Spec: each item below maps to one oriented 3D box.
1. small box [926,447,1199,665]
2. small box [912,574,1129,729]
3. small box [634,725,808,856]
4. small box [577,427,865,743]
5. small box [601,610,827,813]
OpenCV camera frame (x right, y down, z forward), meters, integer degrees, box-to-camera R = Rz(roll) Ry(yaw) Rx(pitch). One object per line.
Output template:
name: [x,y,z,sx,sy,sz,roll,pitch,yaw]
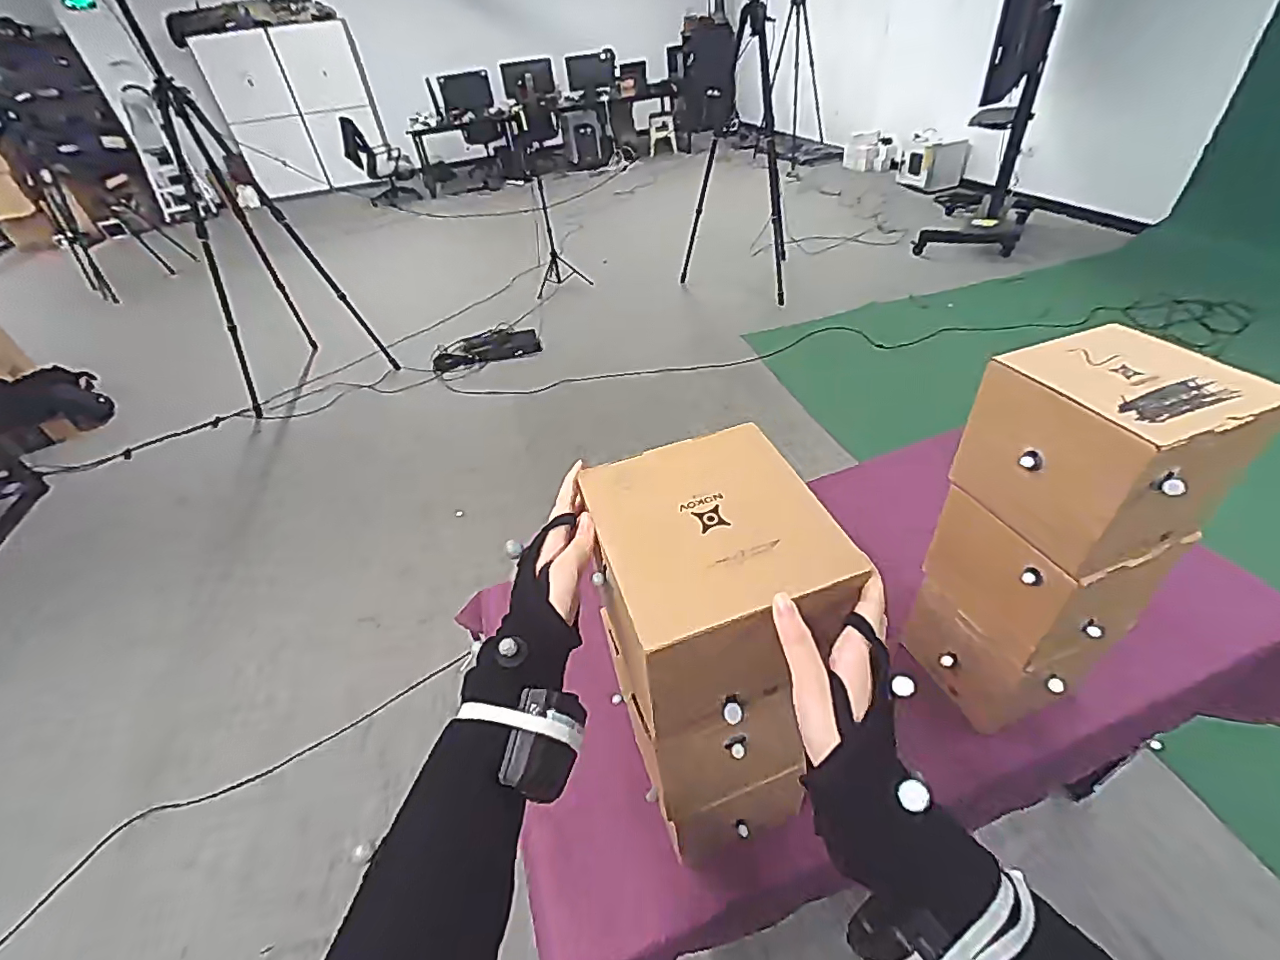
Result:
small box: [0.490,0.091,0.665,0.168,0.176,0.179,-17,41,-11]
small box: [0.514,0.217,0.765,0.179,0.176,0.168,-19,41,-11]
small box: [0.092,0.343,0.688,0.168,0.176,0.179,-17,40,-11]
small box: [0.053,0.086,0.461,0.168,0.176,0.179,-16,46,-11]
small box: [0.074,0.219,0.582,0.179,0.176,0.168,-17,41,-12]
